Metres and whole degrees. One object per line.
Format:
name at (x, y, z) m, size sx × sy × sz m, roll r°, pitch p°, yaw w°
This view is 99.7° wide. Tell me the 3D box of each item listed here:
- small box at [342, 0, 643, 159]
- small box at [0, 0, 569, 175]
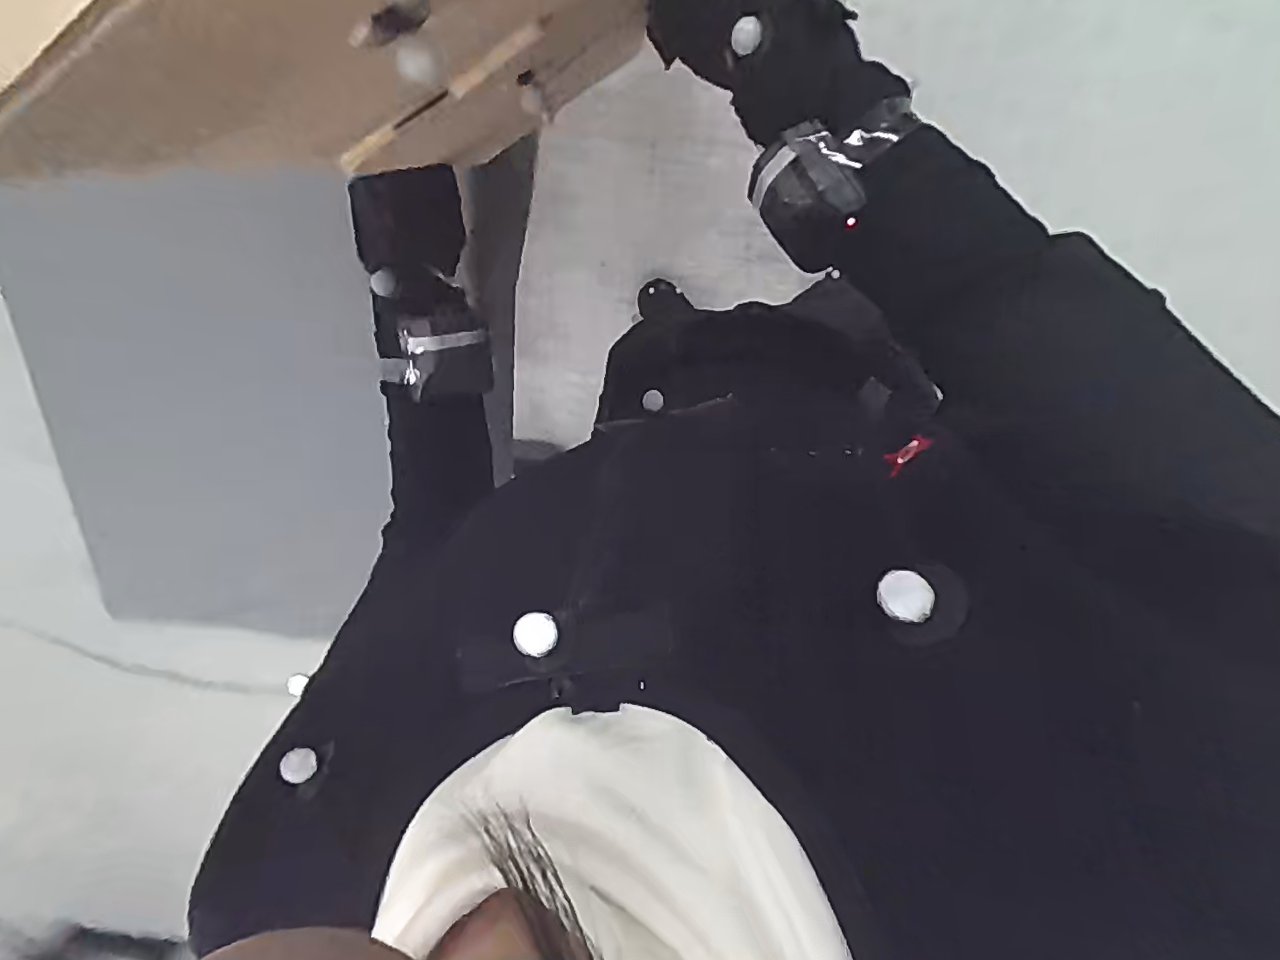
small box at (-0.097, -0.281, 0.242) m, size 0.168 × 0.176 × 0.179 m, roll -26°, pitch 121°, yaw 15°
small box at (-0.086, -0.190, 0.105) m, size 0.179 × 0.176 × 0.168 m, roll -22°, pitch 121°, yaw 14°
